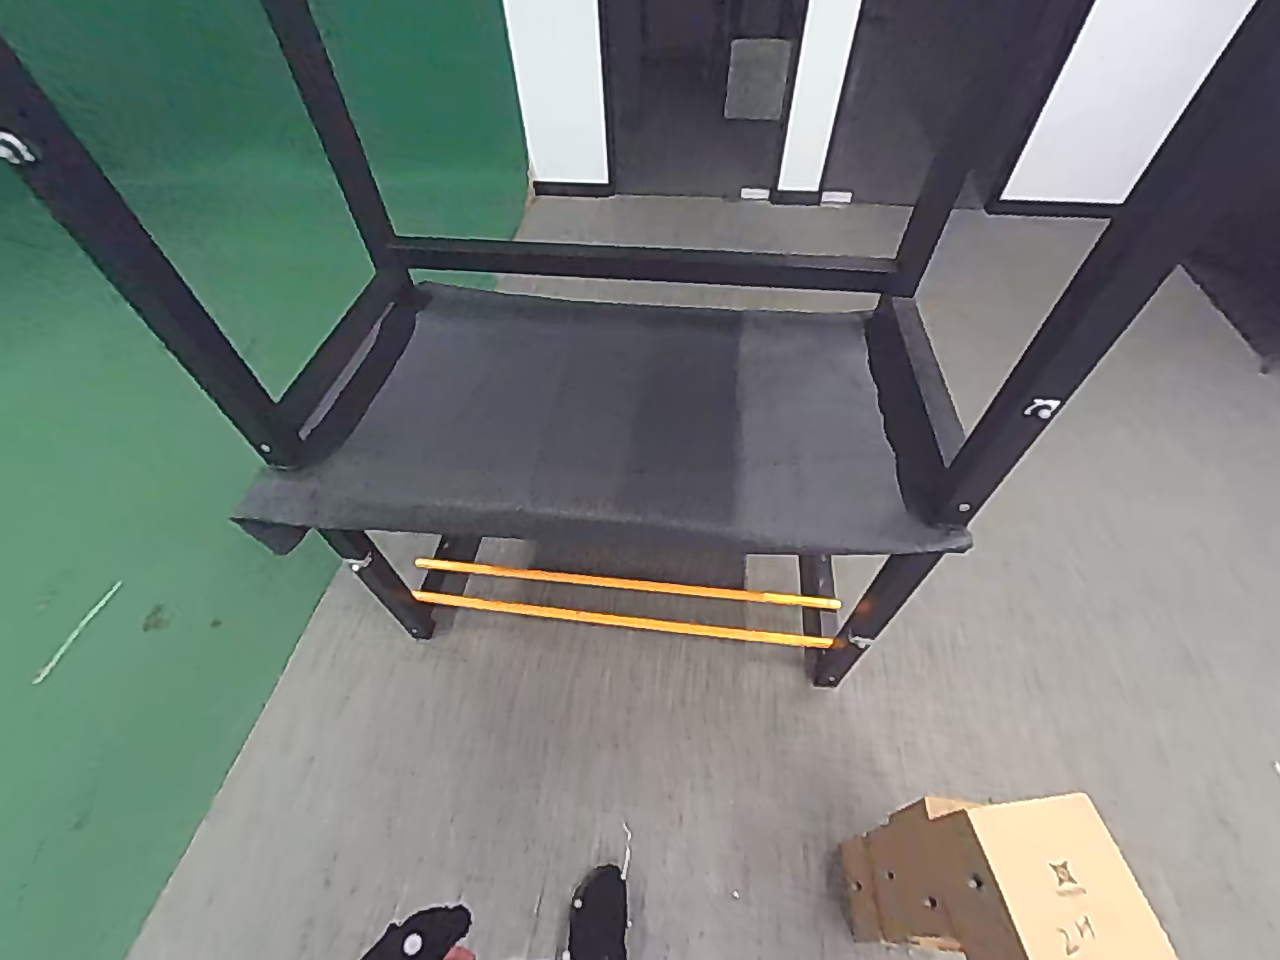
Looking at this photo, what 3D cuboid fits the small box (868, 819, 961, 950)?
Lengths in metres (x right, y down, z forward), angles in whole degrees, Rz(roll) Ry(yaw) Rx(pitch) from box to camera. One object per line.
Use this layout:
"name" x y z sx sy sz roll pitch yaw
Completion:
"small box" 0.526 0.723 0.966 0.168 0.176 0.179 3 50 4

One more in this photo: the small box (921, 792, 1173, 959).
"small box" 0.503 0.528 0.705 0.168 0.176 0.179 -6 52 -2

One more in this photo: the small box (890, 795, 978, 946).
"small box" 0.510 0.616 0.845 0.168 0.176 0.179 5 52 6
